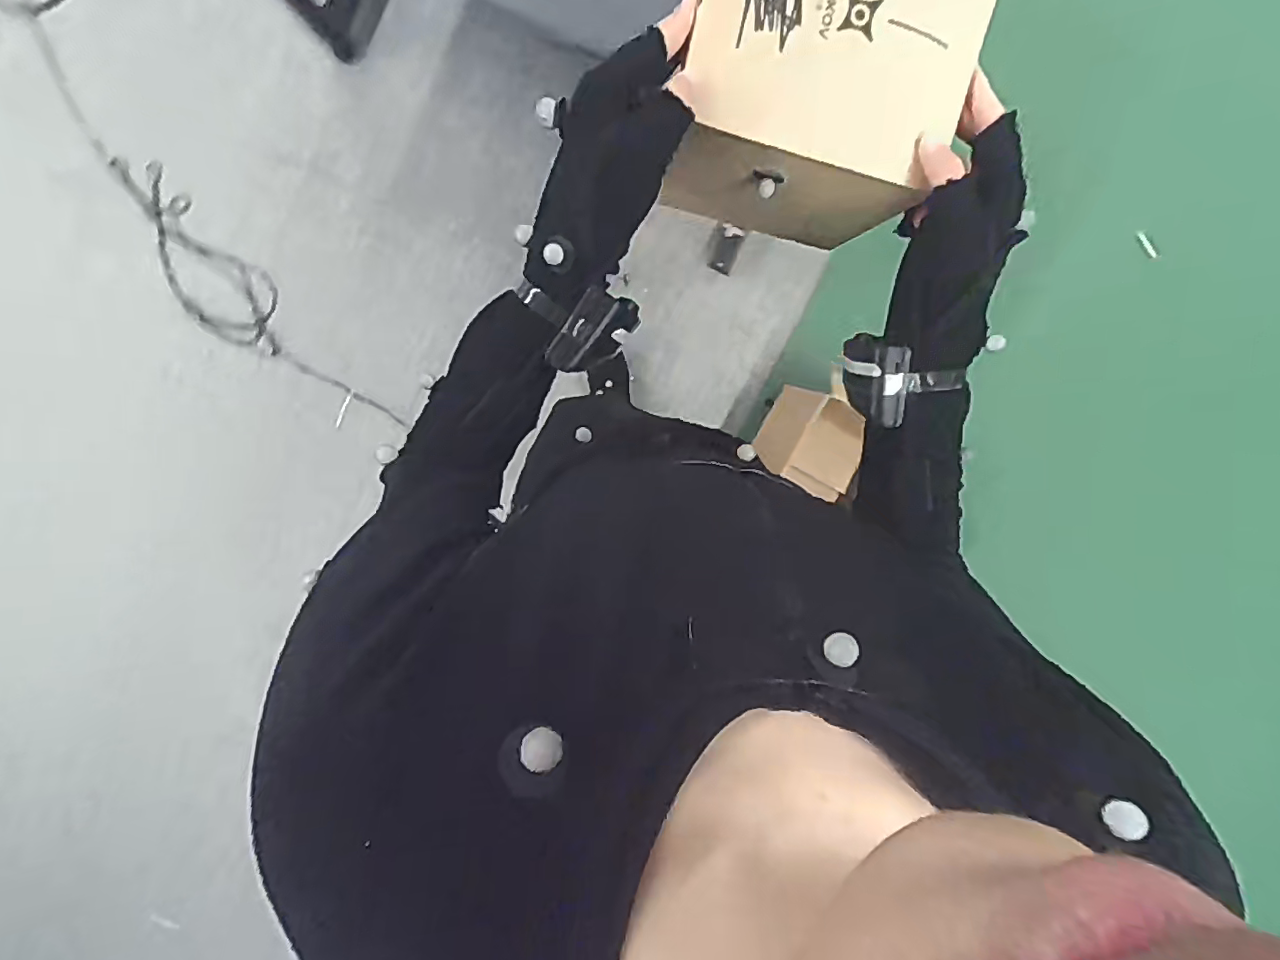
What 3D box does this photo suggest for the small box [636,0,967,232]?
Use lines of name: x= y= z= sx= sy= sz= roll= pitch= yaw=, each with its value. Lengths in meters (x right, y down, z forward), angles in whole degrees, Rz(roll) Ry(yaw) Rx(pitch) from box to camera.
small box: x=0.098 y=-0.297 z=0.389 sx=0.179 sy=0.176 sz=0.168 roll=12 pitch=101 yaw=-7
